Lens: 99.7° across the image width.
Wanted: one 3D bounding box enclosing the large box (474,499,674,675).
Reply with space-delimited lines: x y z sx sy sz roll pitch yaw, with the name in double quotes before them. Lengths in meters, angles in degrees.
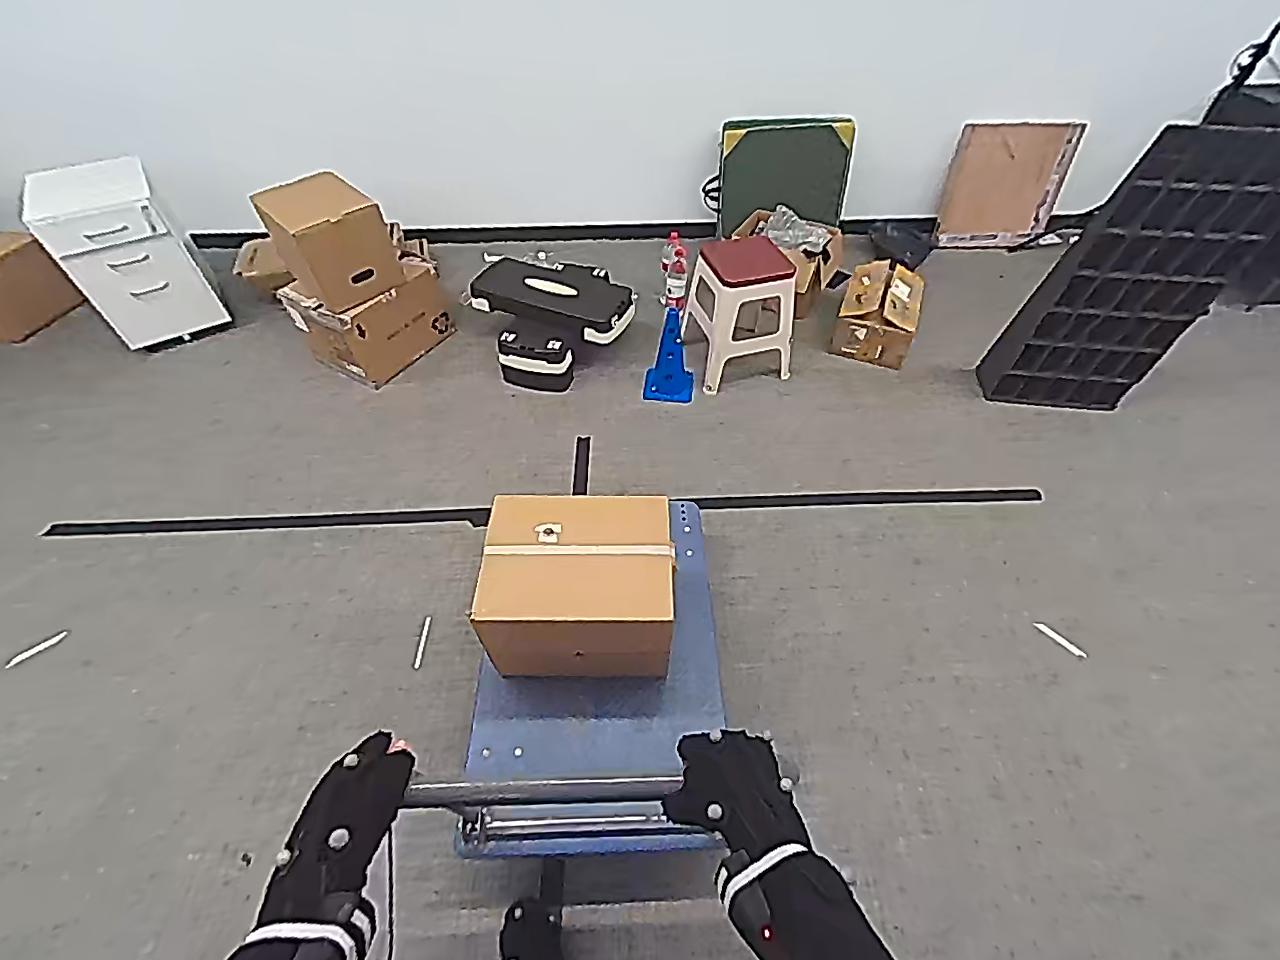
"large box" -0.131 0.258 1.280 0.408 0.320 0.320 0 50 1
